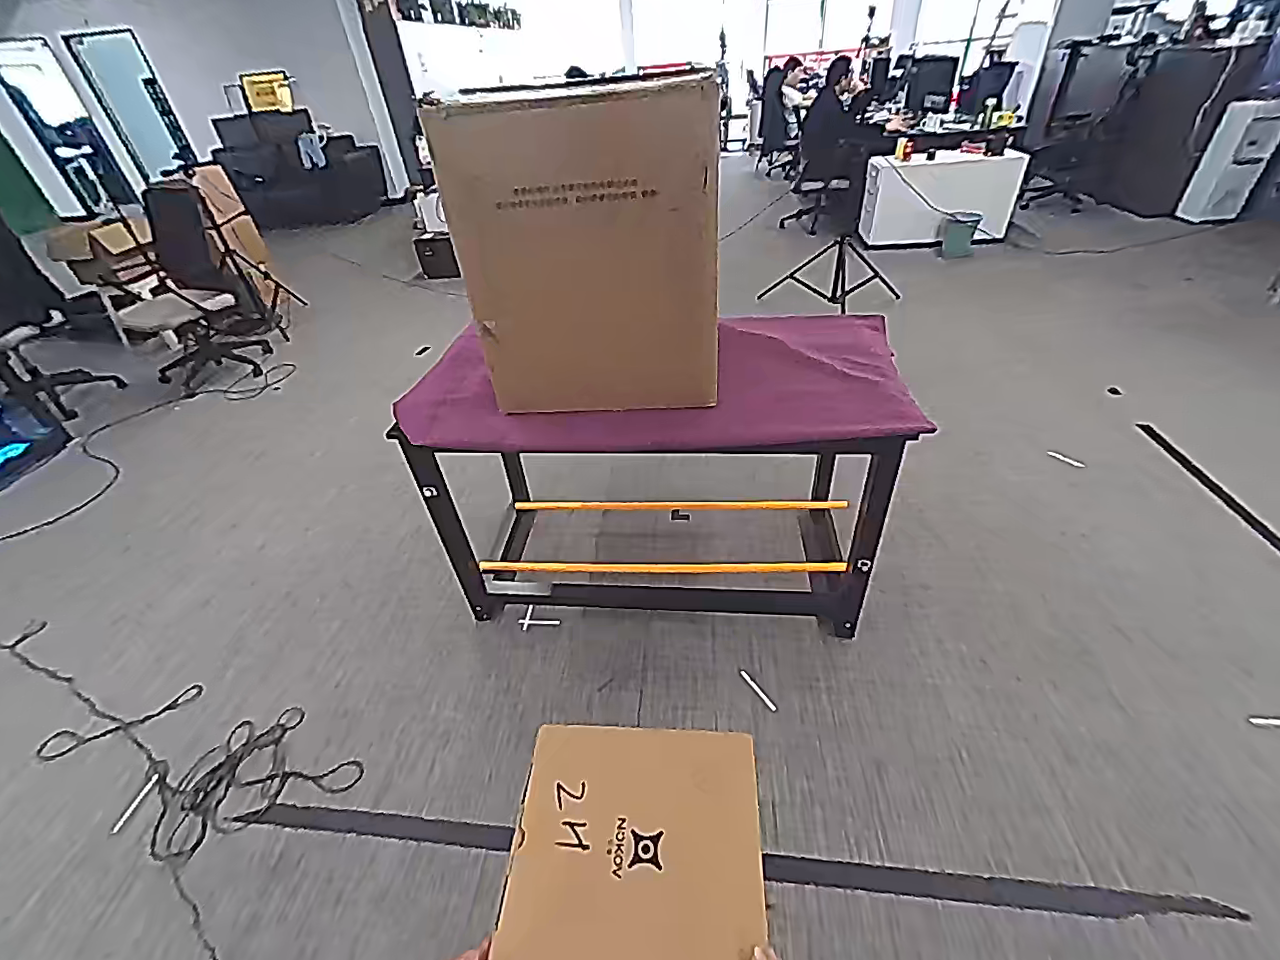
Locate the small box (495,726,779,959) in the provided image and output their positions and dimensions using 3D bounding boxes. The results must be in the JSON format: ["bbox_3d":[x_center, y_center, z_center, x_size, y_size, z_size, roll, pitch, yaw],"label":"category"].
[{"bbox_3d":[0.009,0.316,0.424,0.179,0.176,0.168,-1,40,7],"label":"small box"}]
